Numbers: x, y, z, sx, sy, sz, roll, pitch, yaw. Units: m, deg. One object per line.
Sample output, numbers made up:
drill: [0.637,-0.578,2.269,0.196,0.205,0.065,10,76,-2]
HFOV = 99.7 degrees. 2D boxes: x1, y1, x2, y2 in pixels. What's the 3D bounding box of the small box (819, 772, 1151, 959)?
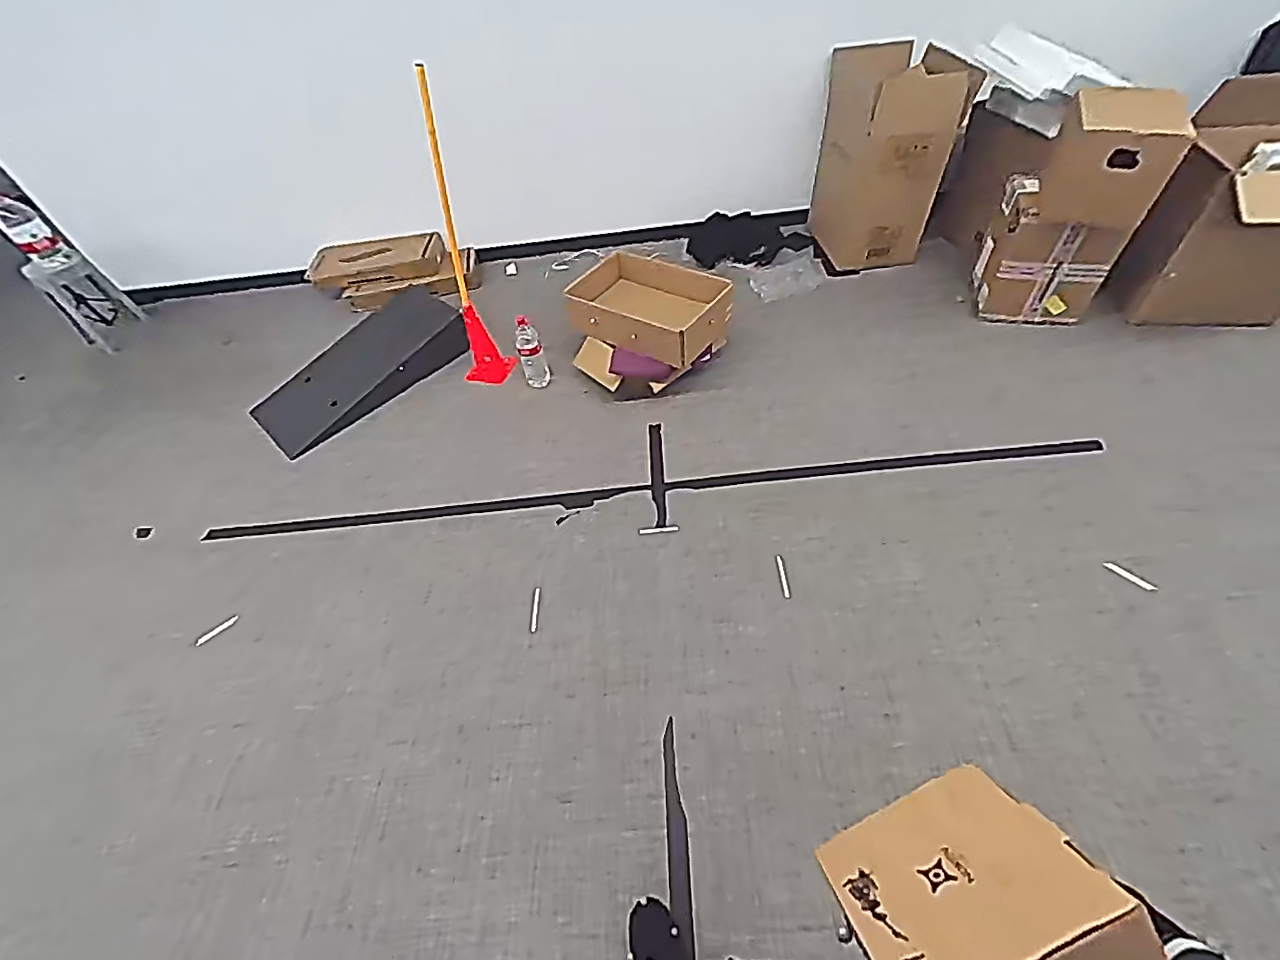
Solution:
small box: [0.287,0.396,0.448,0.179,0.168,0.176,-26,93,-2]
